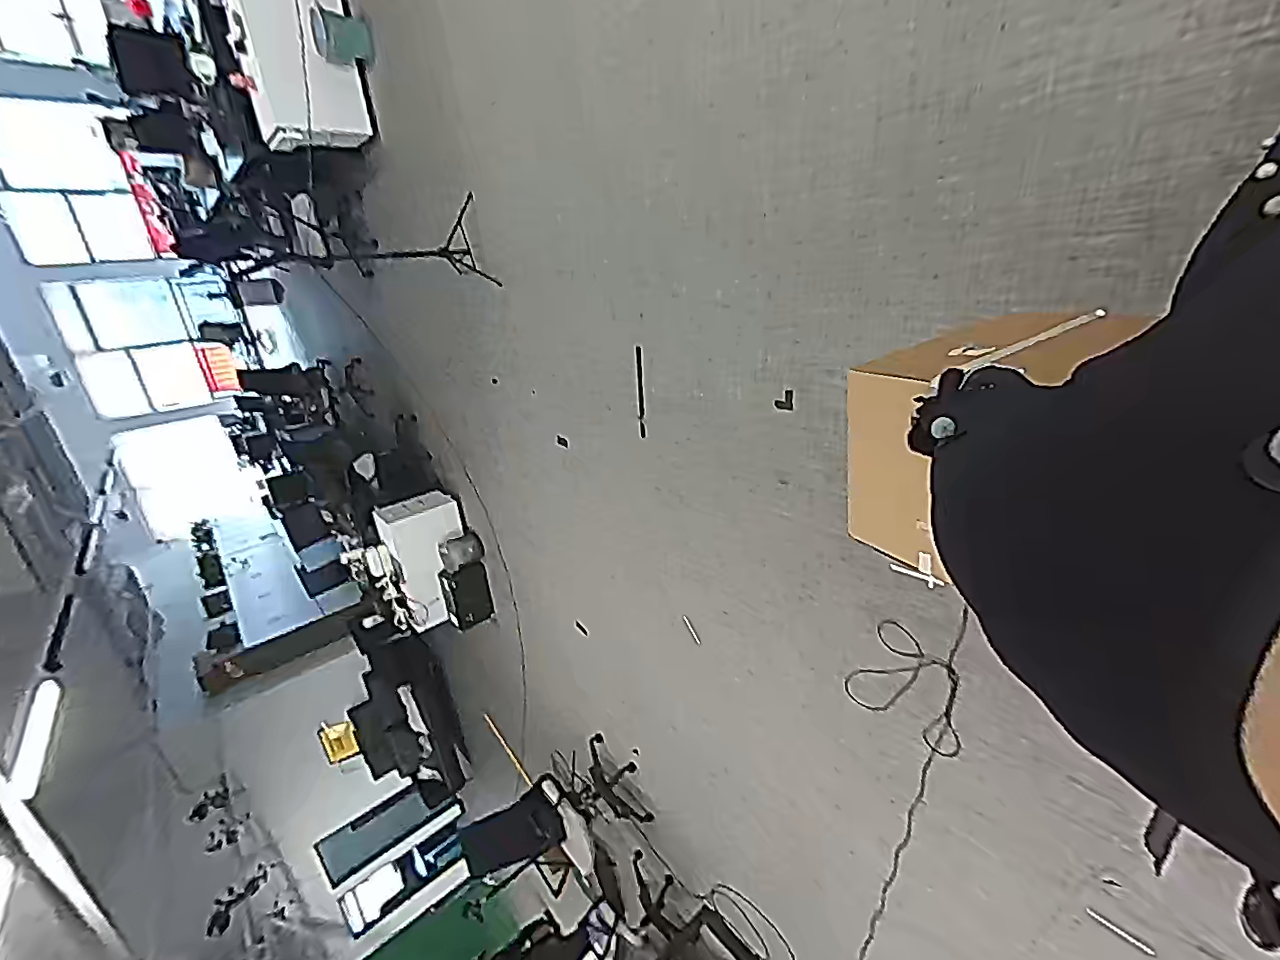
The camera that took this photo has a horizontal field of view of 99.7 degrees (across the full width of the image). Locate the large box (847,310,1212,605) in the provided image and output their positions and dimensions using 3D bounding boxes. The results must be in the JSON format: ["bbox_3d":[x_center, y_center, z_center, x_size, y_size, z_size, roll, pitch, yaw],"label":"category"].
[{"bbox_3d":[0.593,-0.069,0.873,0.320,0.408,0.320,31,137,57],"label":"large box"}]
